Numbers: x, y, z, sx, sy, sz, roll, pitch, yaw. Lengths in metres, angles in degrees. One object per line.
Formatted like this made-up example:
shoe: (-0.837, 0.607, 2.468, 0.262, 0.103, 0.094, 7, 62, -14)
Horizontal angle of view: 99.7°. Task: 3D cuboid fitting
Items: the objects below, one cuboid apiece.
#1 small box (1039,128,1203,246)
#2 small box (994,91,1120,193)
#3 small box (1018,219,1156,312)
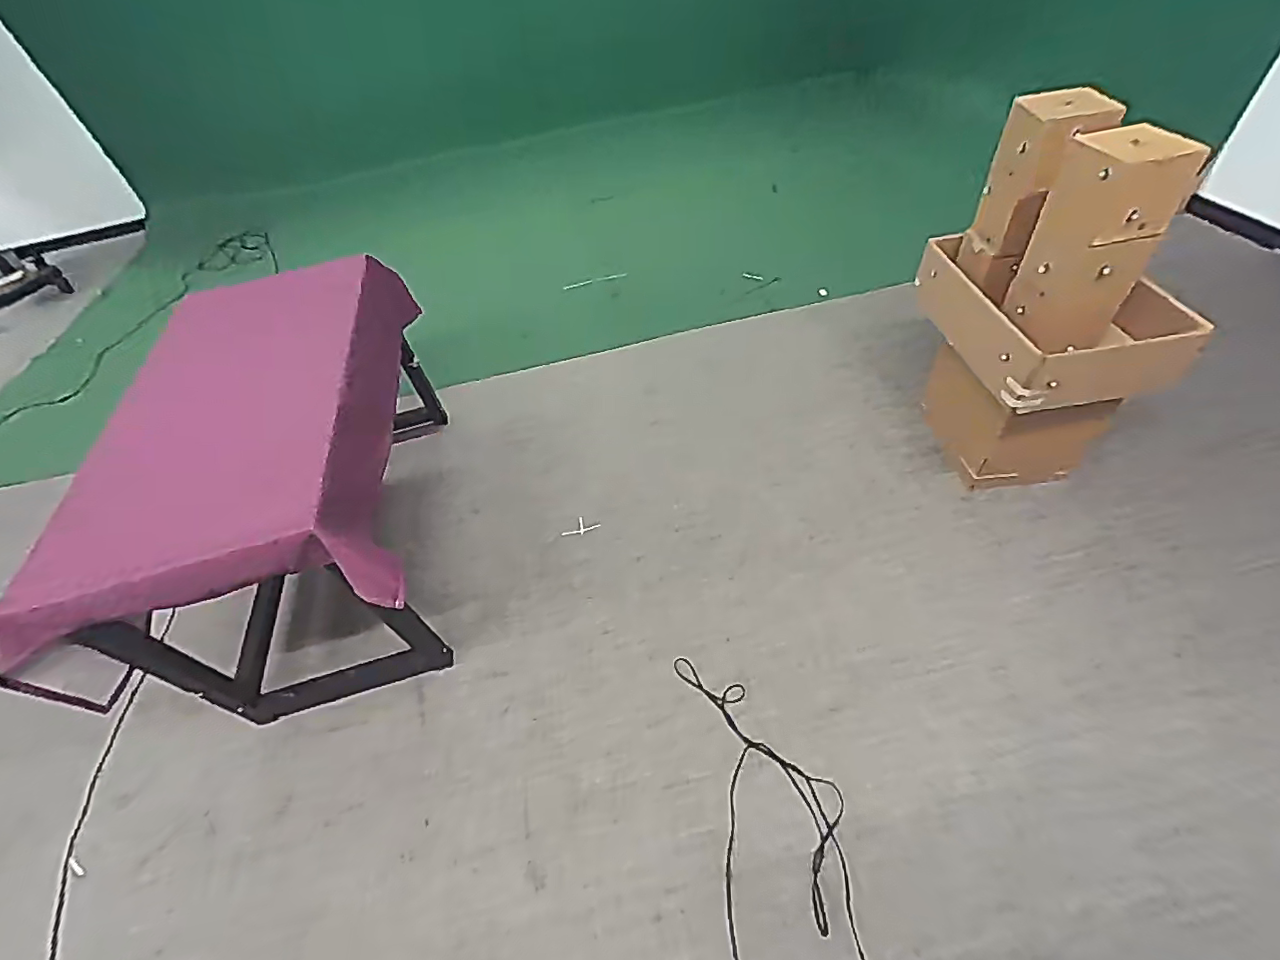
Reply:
small box: (1.024, -0.634, 1.175, 0.168, 0.176, 0.179, -10, 48, 0)
small box: (1.021, -0.839, 1.351, 0.179, 0.176, 0.168, -5, 50, 5)
small box: (1.048, -0.523, 1.293, 0.179, 0.176, 0.168, -12, 48, 1)
